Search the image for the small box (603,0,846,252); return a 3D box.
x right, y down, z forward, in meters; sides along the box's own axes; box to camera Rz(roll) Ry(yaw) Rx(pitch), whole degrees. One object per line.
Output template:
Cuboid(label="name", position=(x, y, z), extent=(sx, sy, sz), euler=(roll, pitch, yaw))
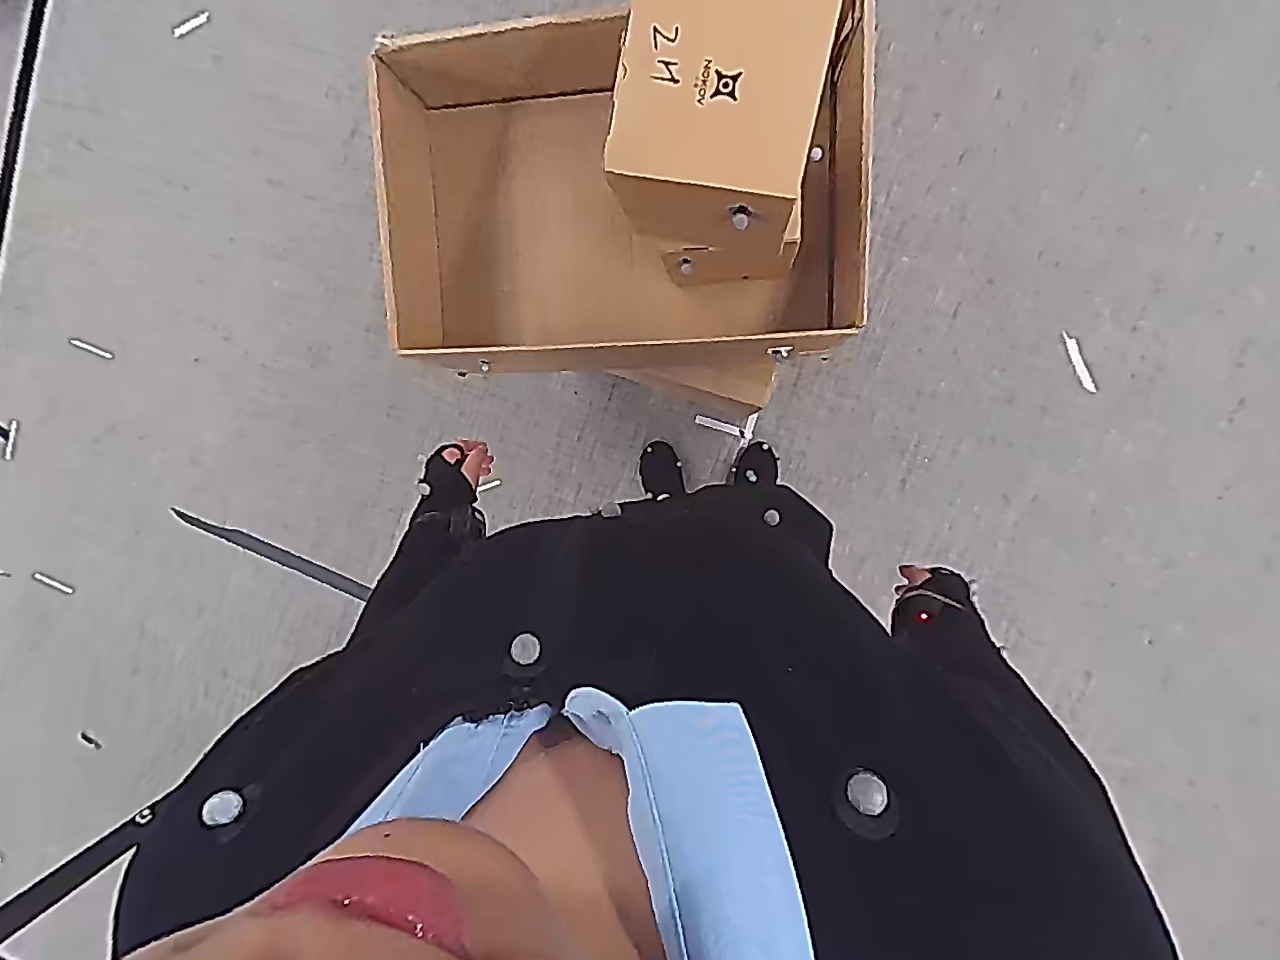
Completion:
Cuboid(label="small box", position=(0.079, -0.341, 0.535), extent=(0.179, 0.176, 0.168), euler=(13, 98, 8))
